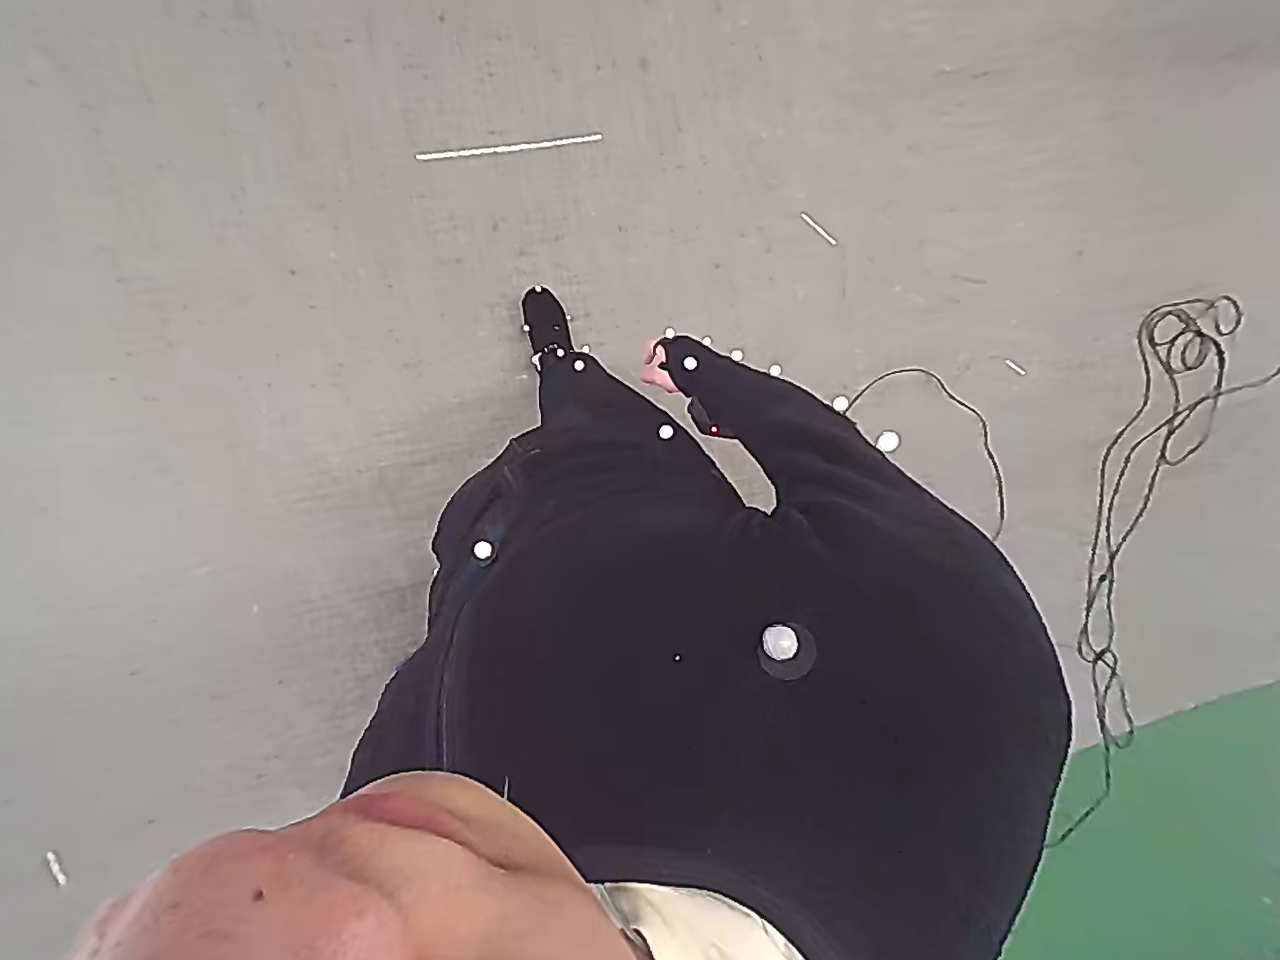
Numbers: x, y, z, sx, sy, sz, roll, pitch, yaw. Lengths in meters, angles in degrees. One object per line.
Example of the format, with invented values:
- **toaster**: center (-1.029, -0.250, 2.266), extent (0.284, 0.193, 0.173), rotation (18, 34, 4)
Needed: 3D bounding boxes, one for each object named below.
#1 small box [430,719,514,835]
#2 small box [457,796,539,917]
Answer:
- **small box**: center (-0.426, 0.760, 1.400), extent (0.168, 0.176, 0.179), rotation (-14, 101, -11)
- **small box**: center (-0.376, 0.999, 1.449), extent (0.168, 0.176, 0.179), rotation (-18, 101, -11)
